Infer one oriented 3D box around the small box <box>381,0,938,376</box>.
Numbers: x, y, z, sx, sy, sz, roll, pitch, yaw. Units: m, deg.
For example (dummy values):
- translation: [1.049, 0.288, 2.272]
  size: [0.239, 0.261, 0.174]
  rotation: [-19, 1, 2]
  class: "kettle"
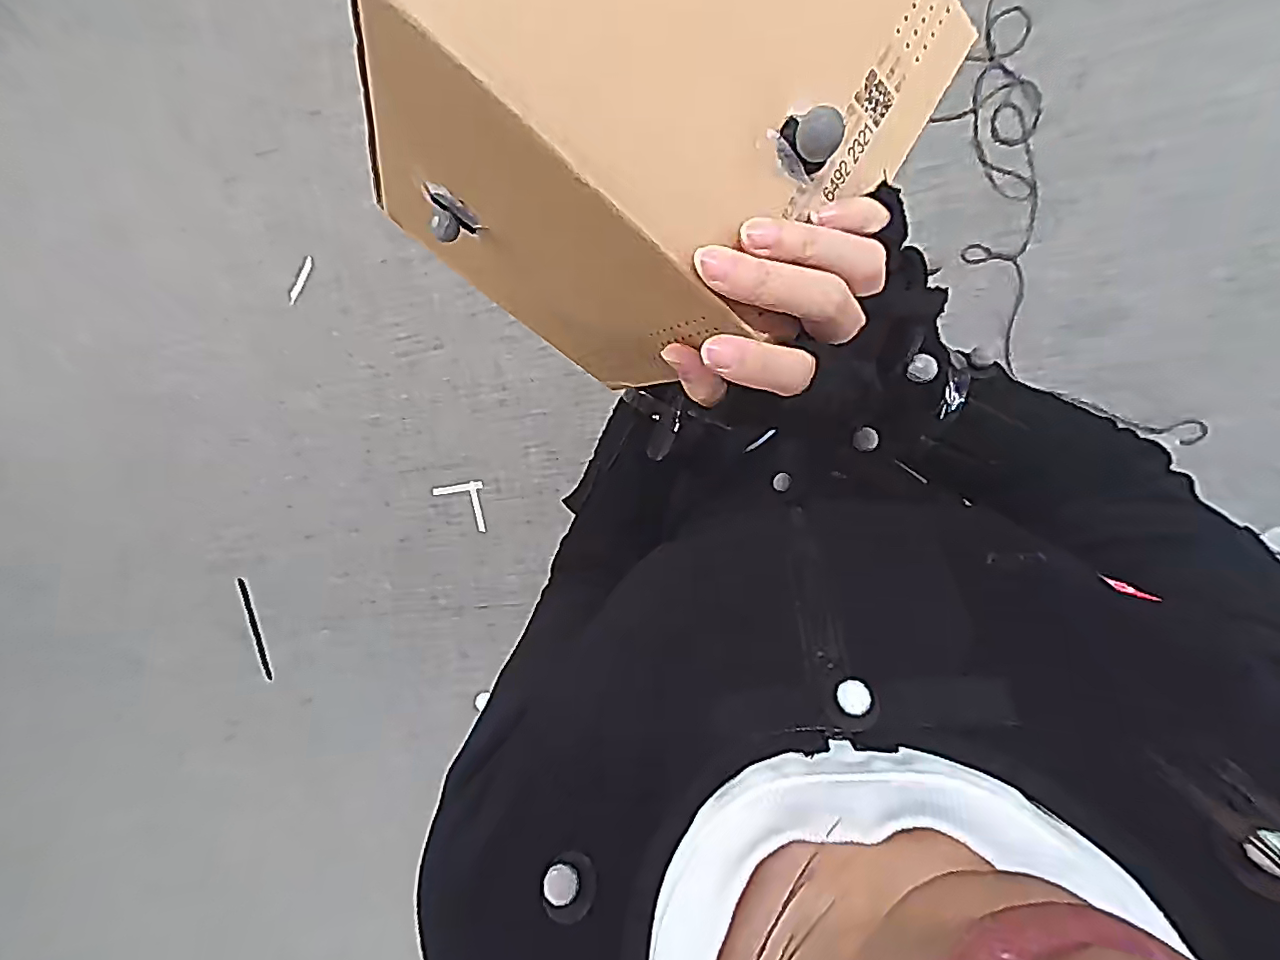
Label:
- translation: [-0.001, -0.168, 0.272]
  size: [0.176, 0.179, 0.168]
  rotation: [34, 82, -23]
  class: "small box"
